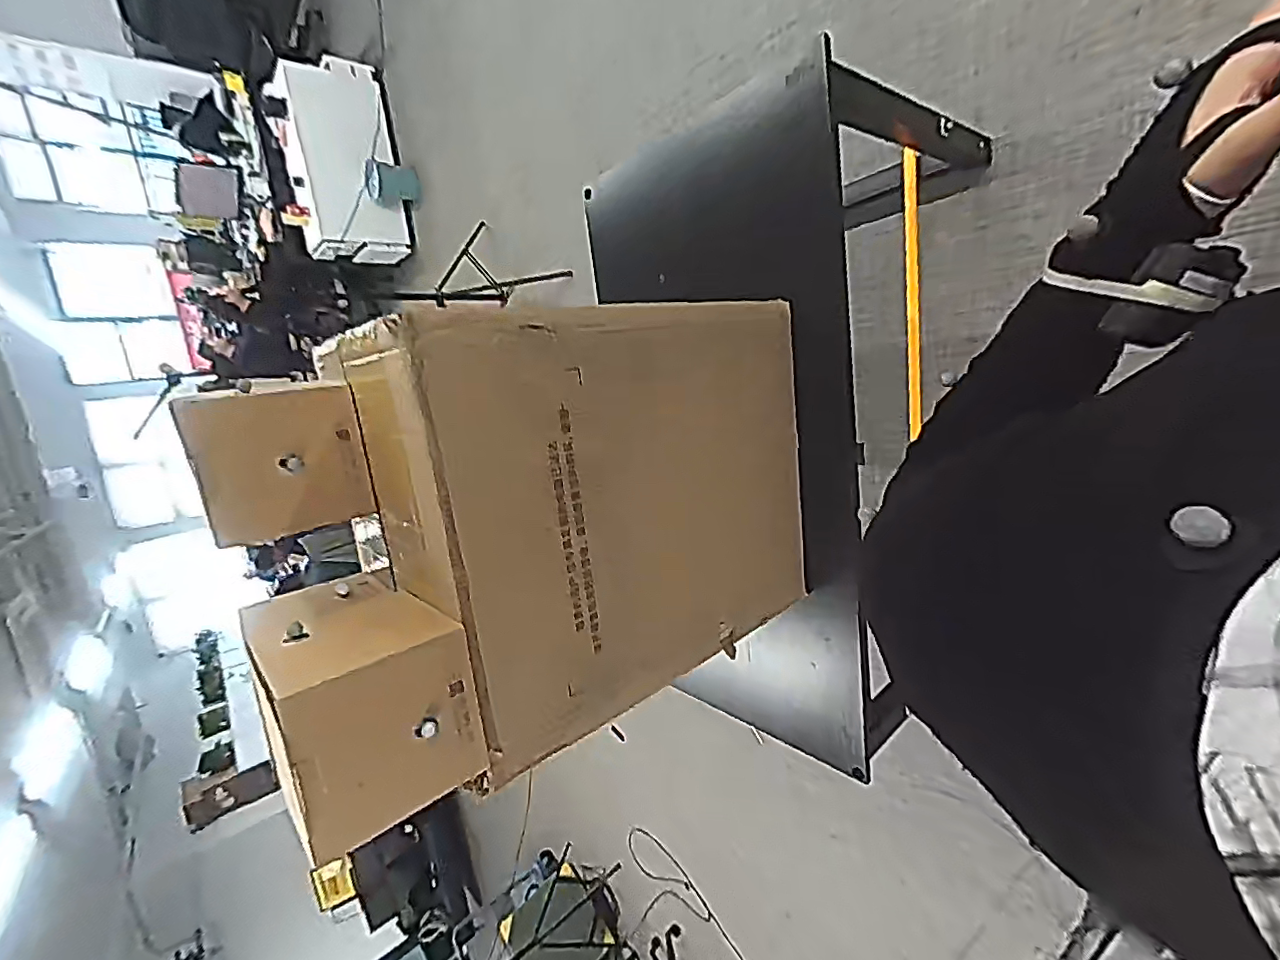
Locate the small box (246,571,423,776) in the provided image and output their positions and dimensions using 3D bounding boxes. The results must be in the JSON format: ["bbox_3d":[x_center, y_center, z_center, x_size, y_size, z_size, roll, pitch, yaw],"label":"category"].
[{"bbox_3d":[-0.407,0.243,0.729,0.168,0.176,0.179,7,107,51],"label":"small box"}]
